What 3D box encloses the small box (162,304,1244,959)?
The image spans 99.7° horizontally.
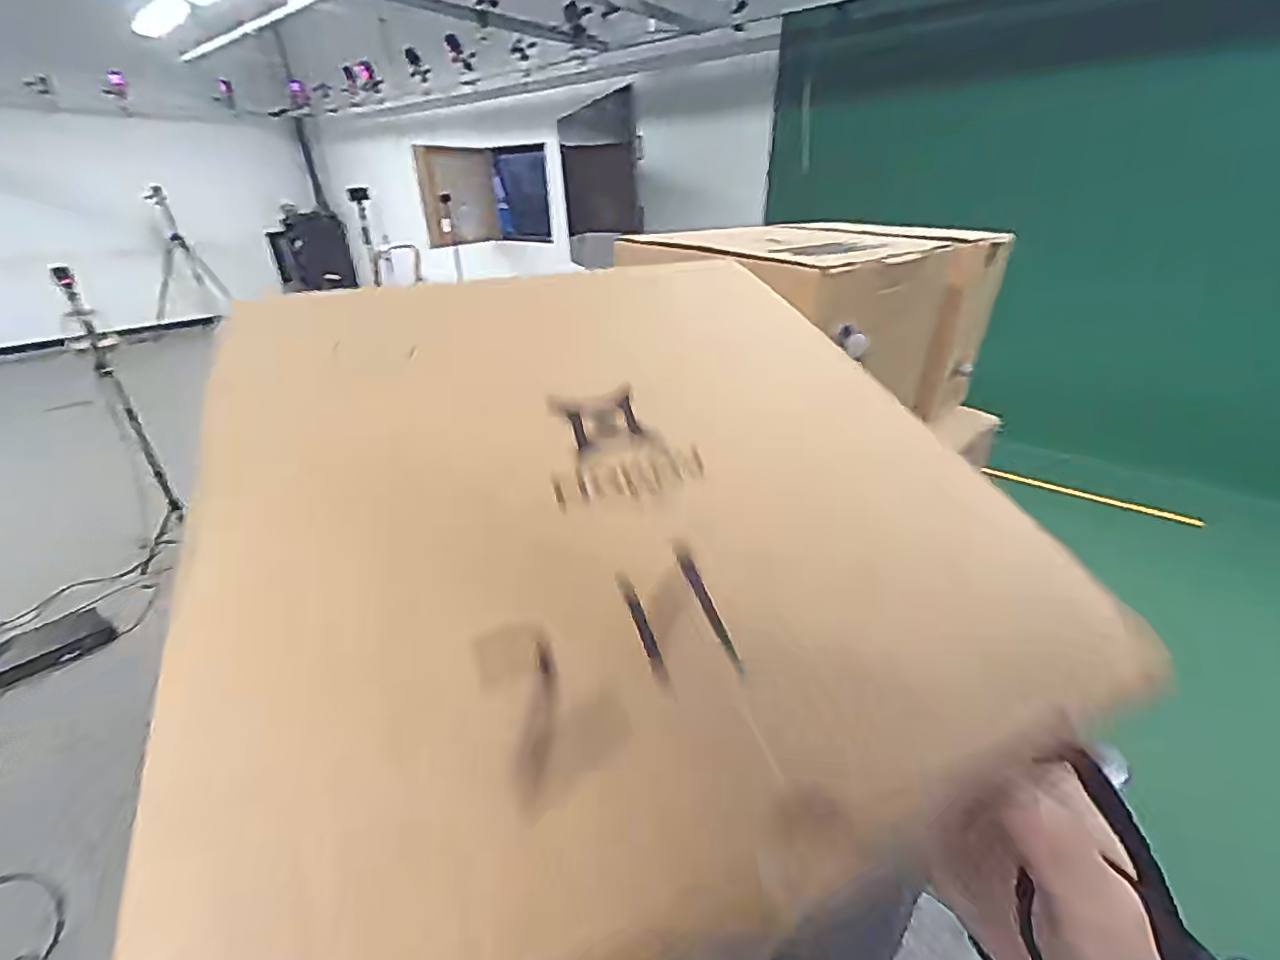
[{"bbox_3d":[-0.009,0.068,0.176,0.168,0.176,0.179,-13,53,-21],"label":"small box"}]

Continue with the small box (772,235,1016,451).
[{"bbox_3d":[0.234,-0.144,0.536,0.179,0.176,0.168,23,33,31],"label":"small box"}]
